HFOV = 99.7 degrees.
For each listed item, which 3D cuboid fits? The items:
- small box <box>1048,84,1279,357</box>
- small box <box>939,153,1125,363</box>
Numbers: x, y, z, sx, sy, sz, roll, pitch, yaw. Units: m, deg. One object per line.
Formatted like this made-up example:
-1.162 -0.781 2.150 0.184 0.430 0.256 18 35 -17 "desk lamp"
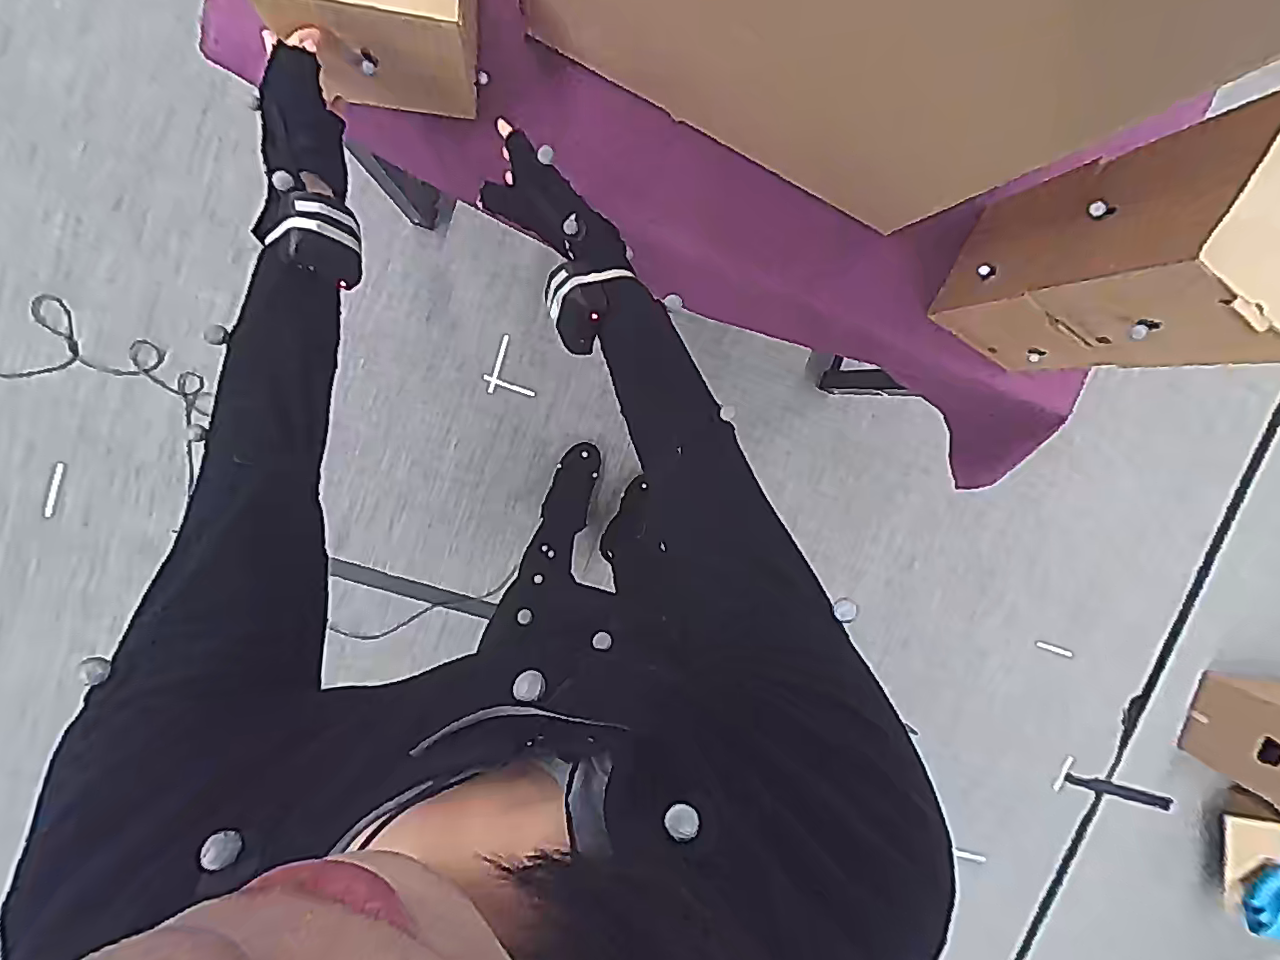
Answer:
0.565 -0.238 0.542 0.168 0.176 0.179 31 94 -13 "small box"
0.531 -0.265 0.701 0.168 0.176 0.179 27 93 -13 "small box"
